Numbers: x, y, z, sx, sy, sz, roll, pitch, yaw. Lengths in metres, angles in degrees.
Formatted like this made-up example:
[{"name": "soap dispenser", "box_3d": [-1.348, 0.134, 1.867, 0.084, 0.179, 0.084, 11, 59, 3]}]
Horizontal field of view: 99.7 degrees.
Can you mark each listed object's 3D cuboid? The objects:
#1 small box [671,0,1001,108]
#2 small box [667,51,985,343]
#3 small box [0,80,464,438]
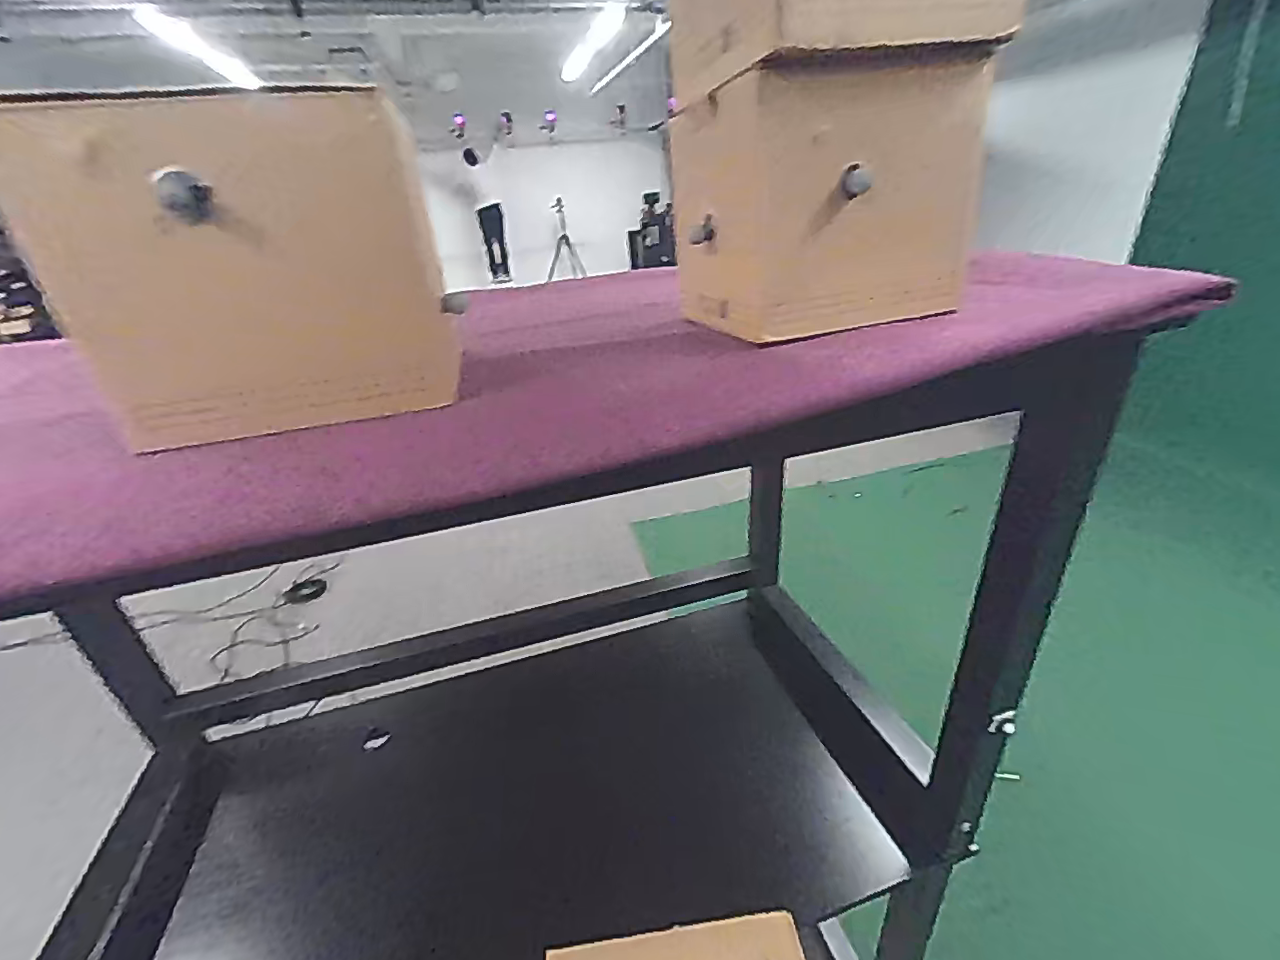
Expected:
[{"name": "small box", "box_3d": [0.123, -0.358, 0.359, 0.179, 0.176, 0.168, -12, 26, -12]}, {"name": "small box", "box_3d": [0.136, -0.216, 0.441, 0.179, 0.176, 0.168, -13, 26, -11]}, {"name": "small box", "box_3d": [-0.224, -0.136, 0.351, 0.179, 0.176, 0.168, -10, 28, -12]}]
